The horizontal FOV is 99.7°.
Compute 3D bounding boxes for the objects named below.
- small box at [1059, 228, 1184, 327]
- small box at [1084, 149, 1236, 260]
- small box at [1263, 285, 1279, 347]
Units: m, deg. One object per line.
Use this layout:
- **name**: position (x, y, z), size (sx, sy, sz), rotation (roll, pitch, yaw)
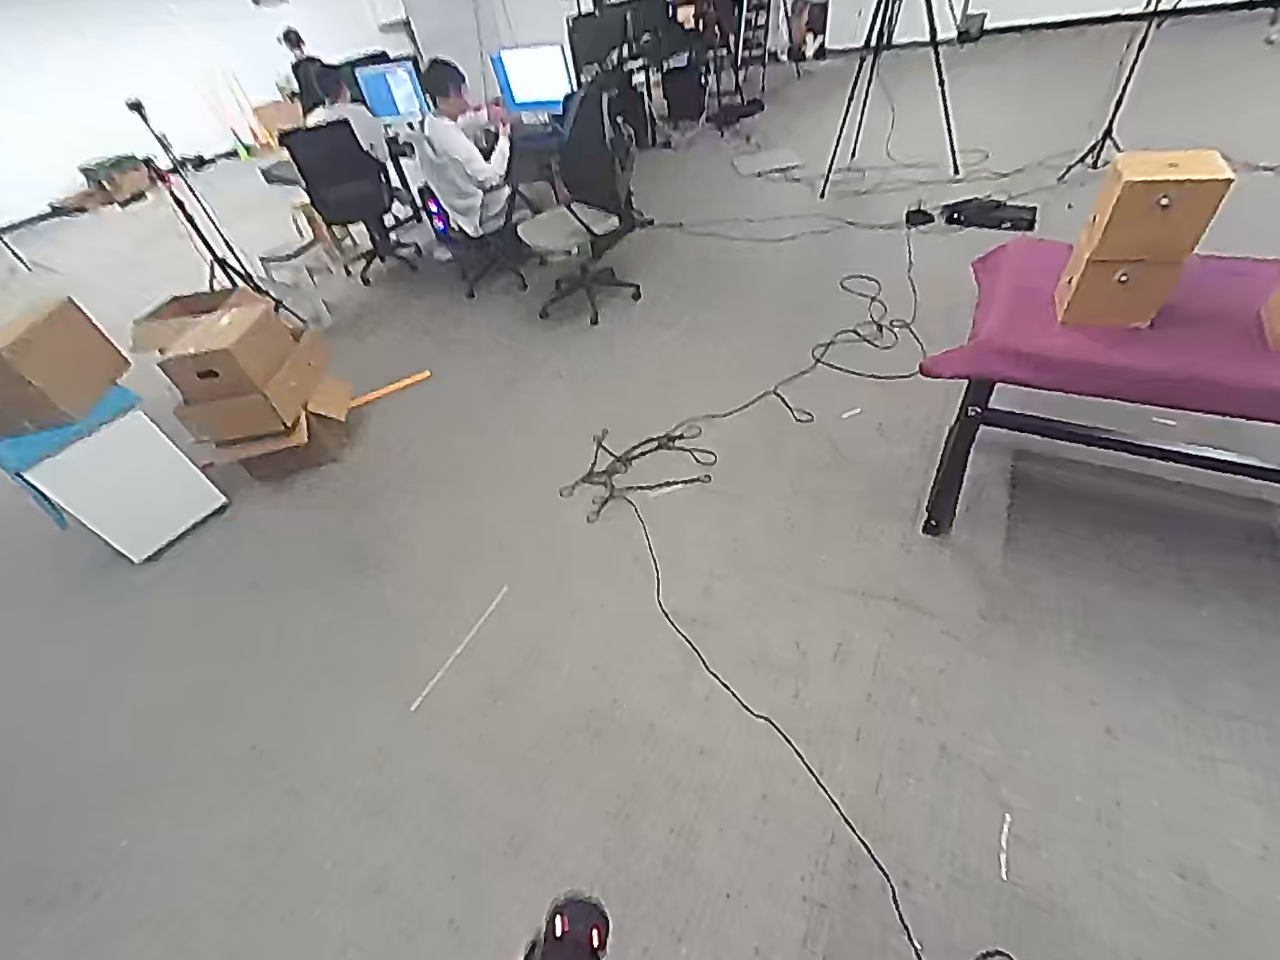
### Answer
- **small box**: position (1.122, -0.480, 1.280), size (0.179, 0.176, 0.168), rotation (14, 50, 23)
- **small box**: position (1.102, -0.589, 1.163), size (0.179, 0.176, 0.168), rotation (11, 50, 23)
- **small box**: position (1.439, -0.372, 1.104), size (0.168, 0.176, 0.179), rotation (19, 52, 28)
